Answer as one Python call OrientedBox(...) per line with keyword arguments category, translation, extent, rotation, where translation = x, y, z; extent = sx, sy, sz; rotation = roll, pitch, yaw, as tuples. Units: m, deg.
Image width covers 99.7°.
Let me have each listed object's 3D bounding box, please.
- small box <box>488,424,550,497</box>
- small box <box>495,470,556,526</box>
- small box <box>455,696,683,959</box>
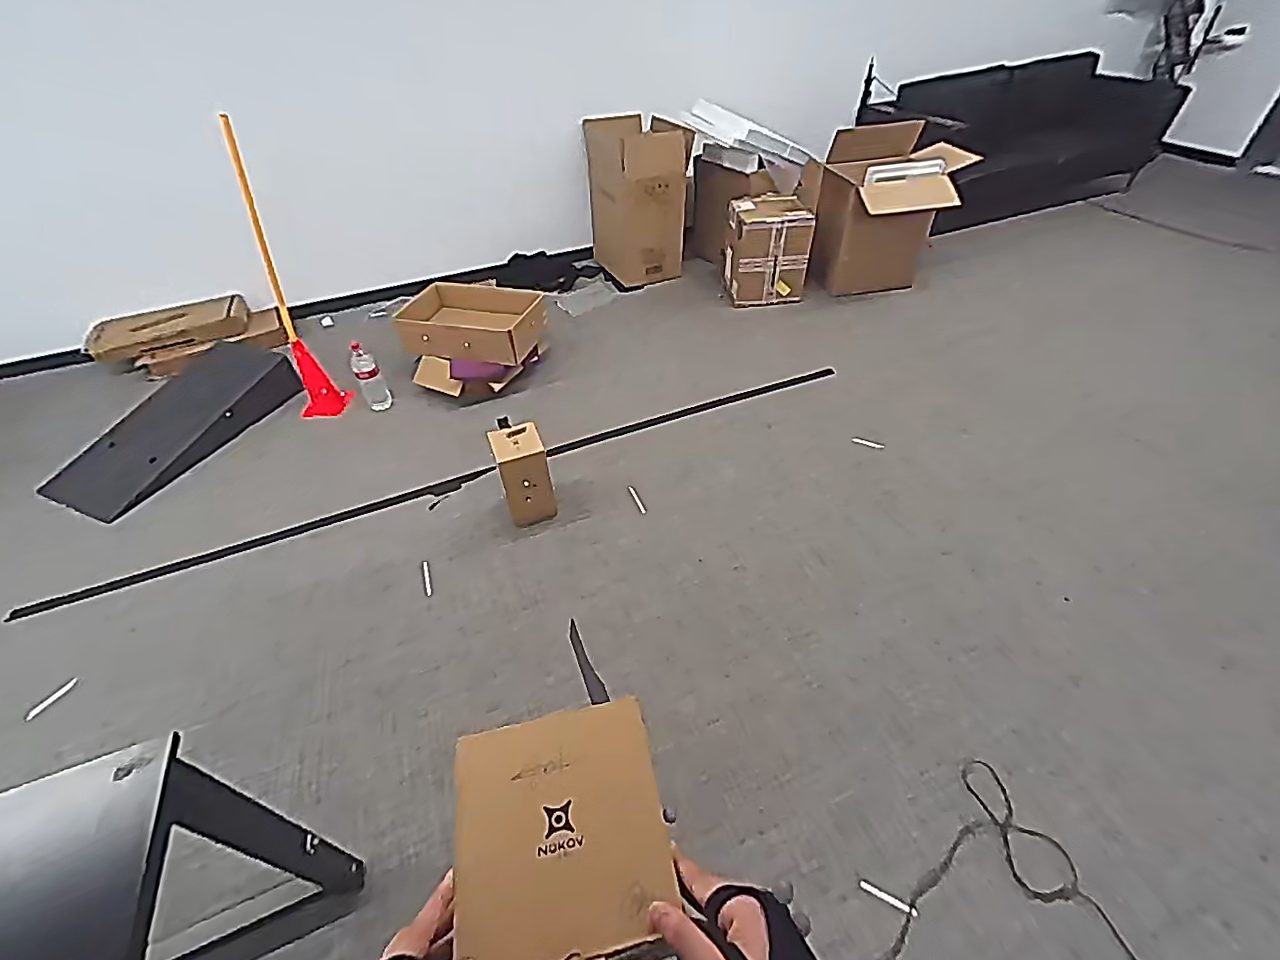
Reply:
OrientedBox(category="small box", translation=(-0.427, -0.068, 1.913), extent=(0.168, 0.176, 0.179), rotation=(-17, 47, -14))
OrientedBox(category="small box", translation=(-0.426, 0.047, 2.030), extent=(0.179, 0.176, 0.168), rotation=(-17, 46, -15))
OrientedBox(category="small box", translation=(-0.061, 0.329, 0.489), extent=(0.168, 0.176, 0.179), rotation=(-10, 45, -8))
